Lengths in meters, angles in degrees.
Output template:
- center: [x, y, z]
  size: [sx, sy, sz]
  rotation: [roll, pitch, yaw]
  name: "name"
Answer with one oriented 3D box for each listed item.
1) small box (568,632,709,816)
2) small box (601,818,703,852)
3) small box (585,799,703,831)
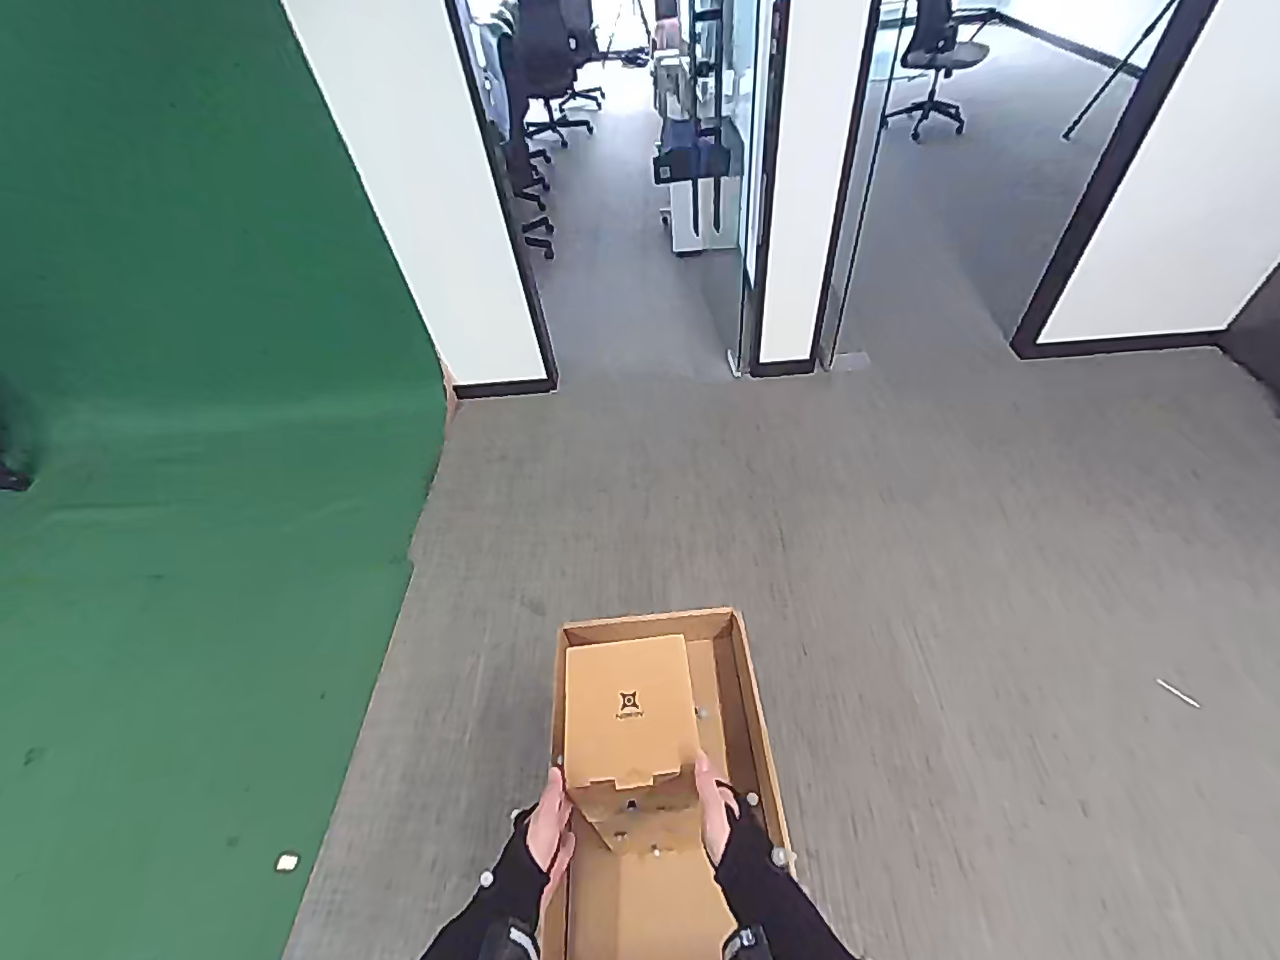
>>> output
- center: [-0.004, 0.333, 0.738]
  size: [0.168, 0.176, 0.179]
  rotation: [-7, 48, 0]
  name: "small box"
- center: [0.023, 0.551, 0.979]
  size: [0.168, 0.176, 0.179]
  rotation: [-6, 47, 3]
  name: "small box"
- center: [0.008, 0.440, 0.860]
  size: [0.168, 0.176, 0.179]
  rotation: [-7, 46, 1]
  name: "small box"
